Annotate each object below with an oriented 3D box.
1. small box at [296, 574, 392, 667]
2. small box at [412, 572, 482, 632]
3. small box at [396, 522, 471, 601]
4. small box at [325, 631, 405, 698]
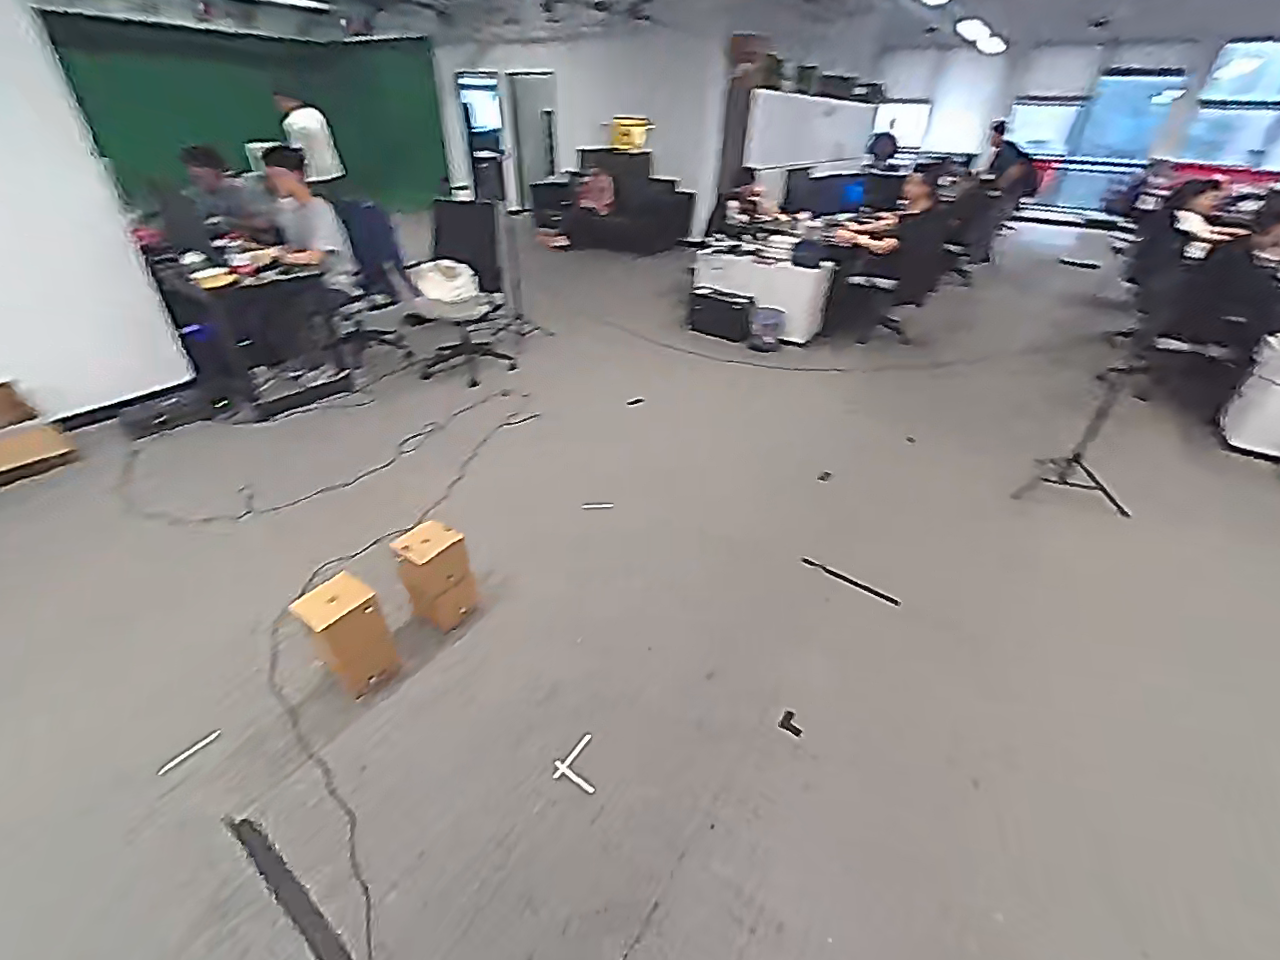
[{"bbox_3d":[-0.884,0.425,1.630,0.168,0.176,0.179,21,39,27],"label":"small box"},{"bbox_3d":[-0.696,0.413,1.944,0.179,0.176,0.168,22,39,27],"label":"small box"},{"bbox_3d":[-0.697,0.278,1.849,0.168,0.176,0.179,21,38,27],"label":"small box"},{"bbox_3d":[-0.883,0.555,1.727,0.179,0.176,0.168,25,41,30],"label":"small box"}]
